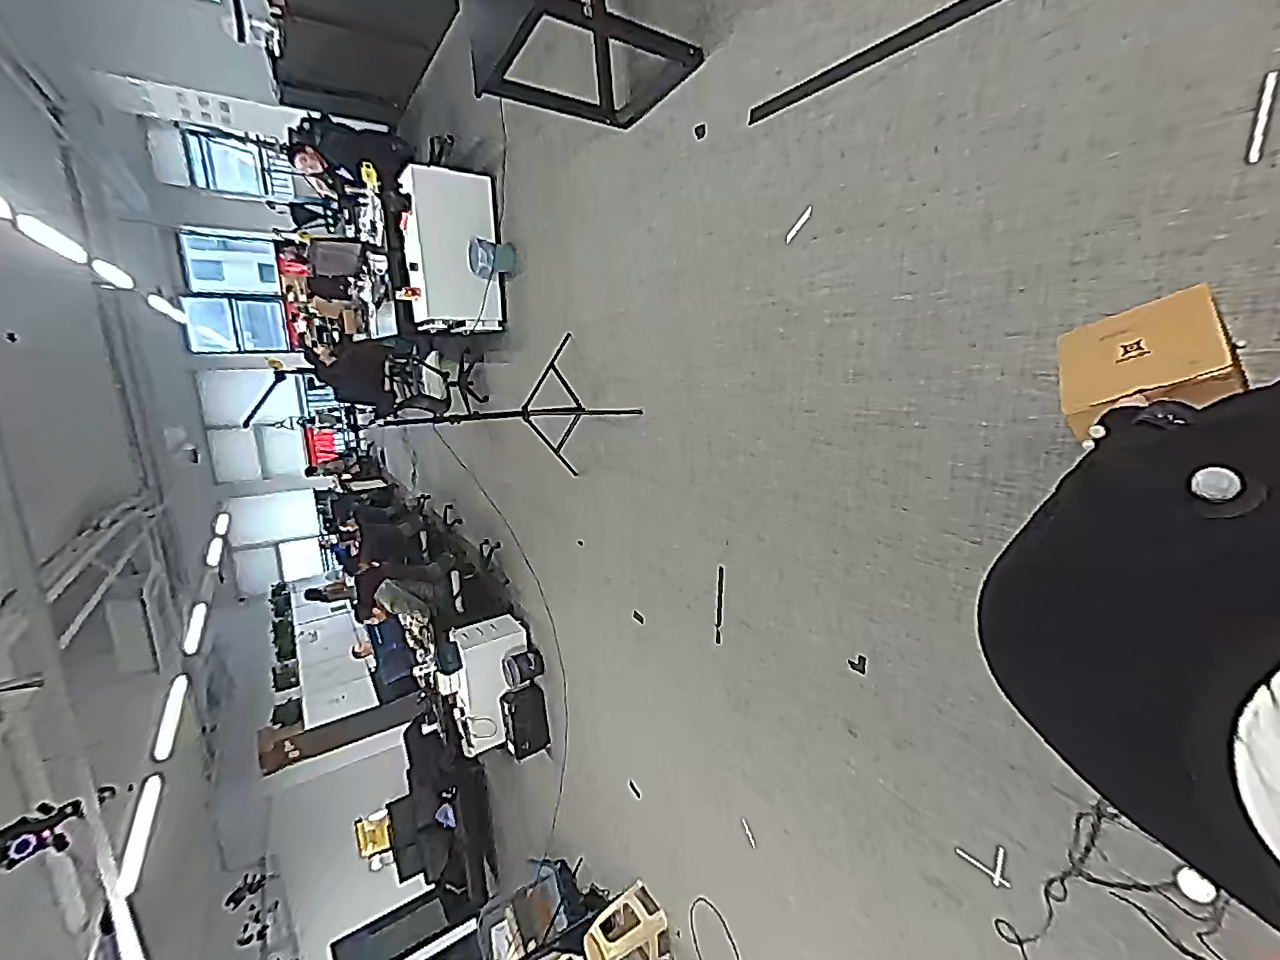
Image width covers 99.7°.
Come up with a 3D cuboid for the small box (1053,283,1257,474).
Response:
[{"bbox_3d":[0.707,-0.126,0.752,0.176,0.179,0.168,42,145,-23],"label":"small box"}]
